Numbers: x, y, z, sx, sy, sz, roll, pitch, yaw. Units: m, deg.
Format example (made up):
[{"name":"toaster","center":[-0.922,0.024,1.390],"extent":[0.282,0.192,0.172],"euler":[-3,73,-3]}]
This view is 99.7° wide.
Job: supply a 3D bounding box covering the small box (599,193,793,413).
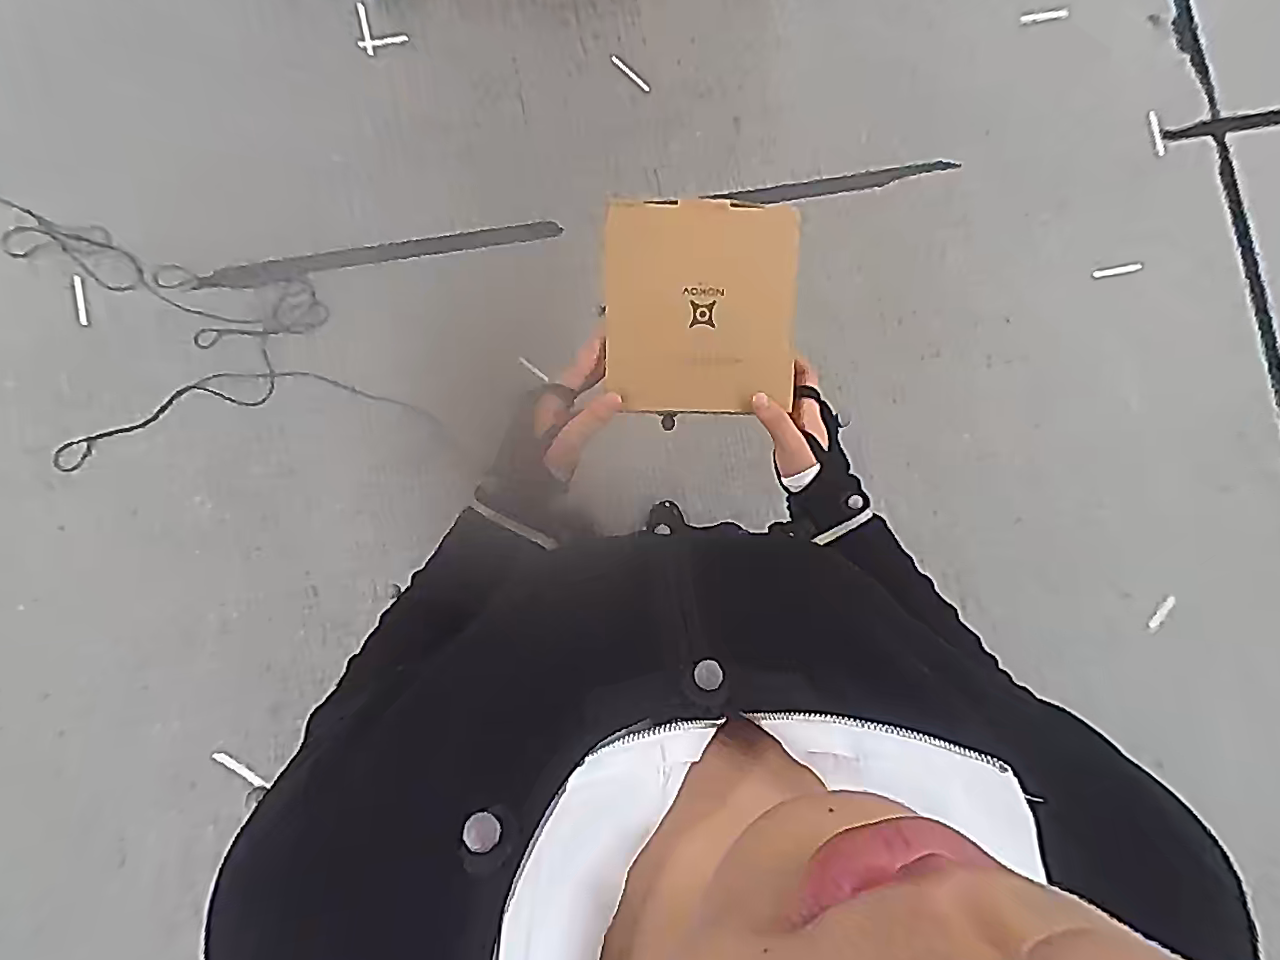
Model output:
[{"name":"small box","center":[0.043,-0.159,0.542],"extent":[0.168,0.176,0.179],"euler":[0,96,-4]}]
